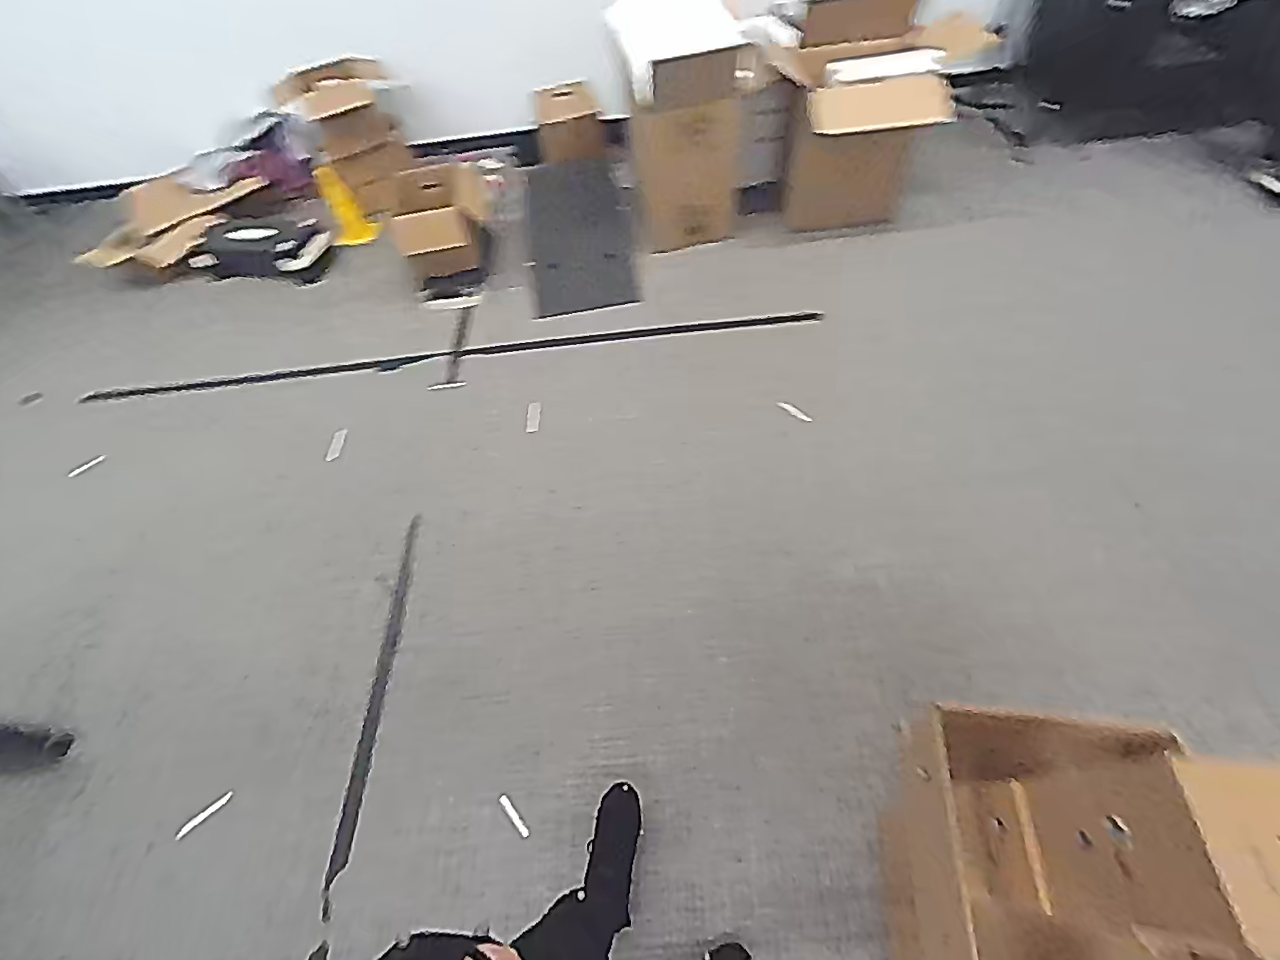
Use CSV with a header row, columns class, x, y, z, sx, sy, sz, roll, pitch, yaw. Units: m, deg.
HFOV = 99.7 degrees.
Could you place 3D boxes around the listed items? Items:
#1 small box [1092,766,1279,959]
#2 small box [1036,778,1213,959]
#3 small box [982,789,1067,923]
class,x,y,z,sx,sy,sz,roll,pitch,yaw
small box,0.650,0.414,0.577,0.179,0.176,0.168,2,56,6
small box,0.664,0.508,0.710,0.168,0.176,0.179,4,58,8
small box,0.671,0.595,0.850,0.179,0.176,0.168,2,58,7
